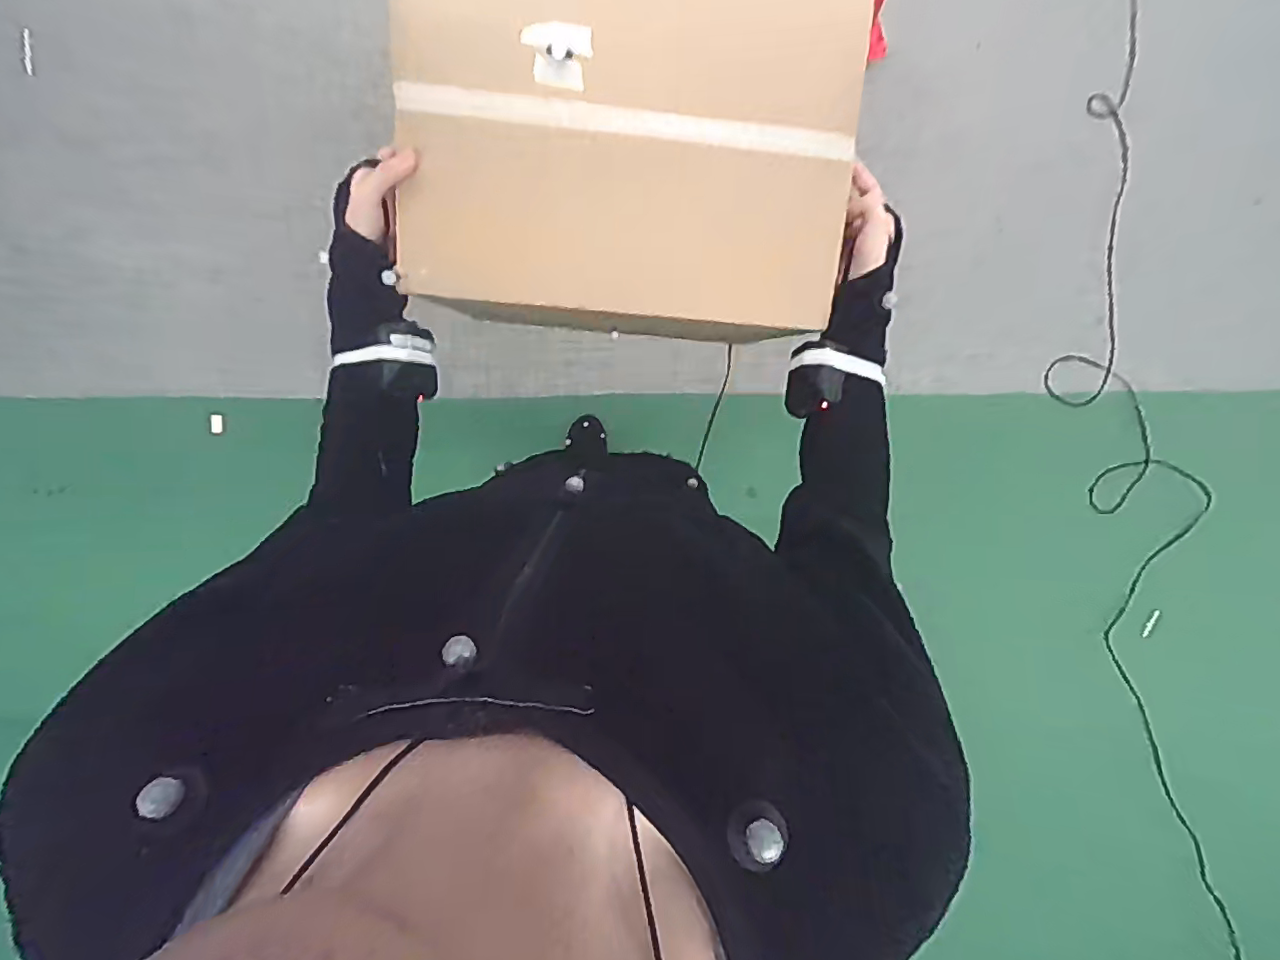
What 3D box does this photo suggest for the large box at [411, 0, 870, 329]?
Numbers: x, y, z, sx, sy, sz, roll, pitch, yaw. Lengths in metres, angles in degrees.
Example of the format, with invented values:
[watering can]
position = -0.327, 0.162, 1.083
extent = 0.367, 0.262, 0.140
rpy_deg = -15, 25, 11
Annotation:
[large box]
position = -0.010, -0.353, 0.631
extent = 0.408, 0.320, 0.320
rpy_deg = 4, 102, -5
